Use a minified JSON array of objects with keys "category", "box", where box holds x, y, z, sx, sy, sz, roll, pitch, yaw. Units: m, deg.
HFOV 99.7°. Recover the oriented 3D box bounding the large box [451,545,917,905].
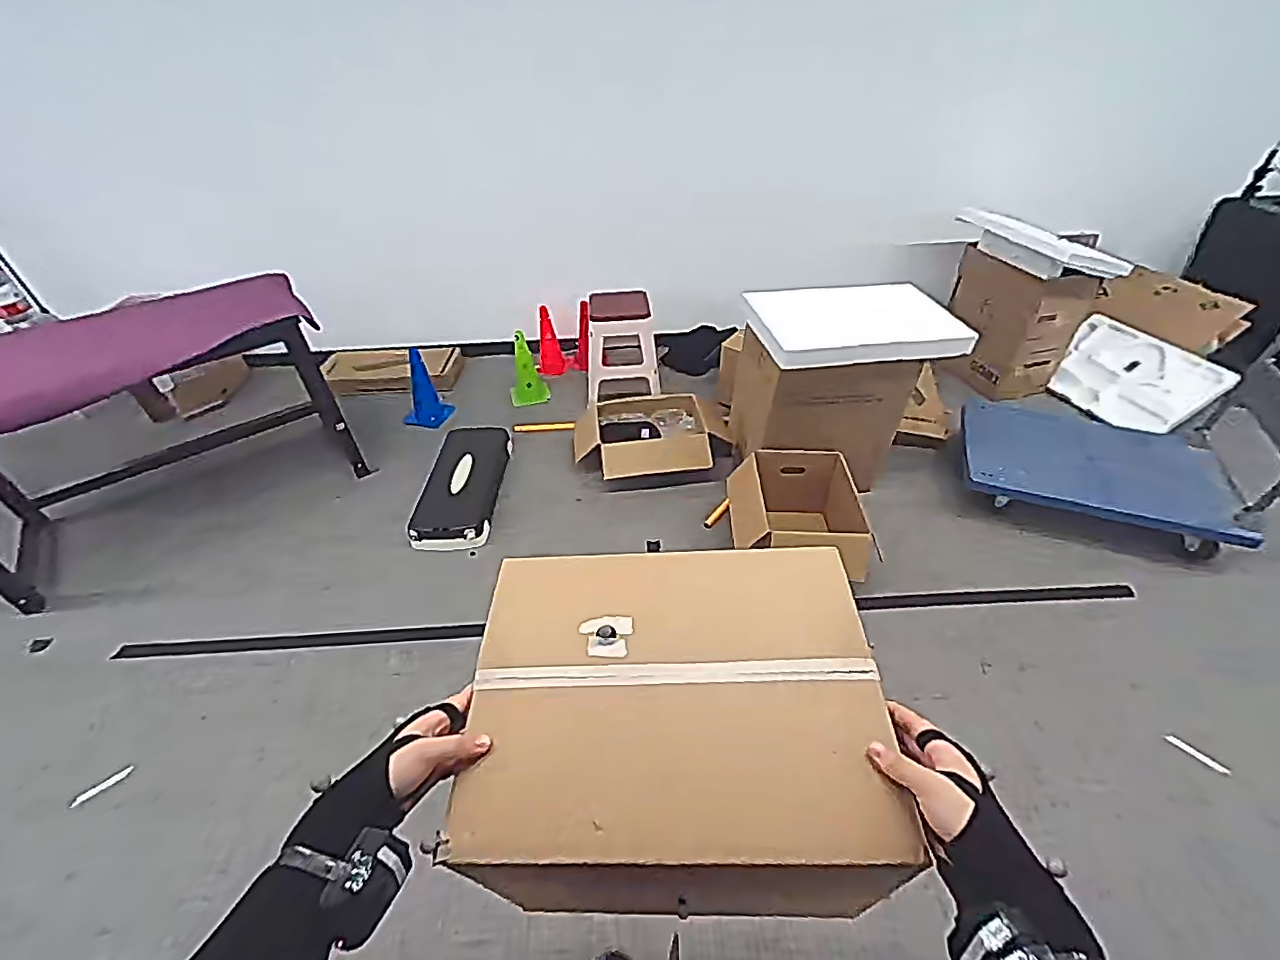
[{"category":"large box","box":[0.049,0.307,0.664,0.408,0.320,0.320,-4,44,5]}]
